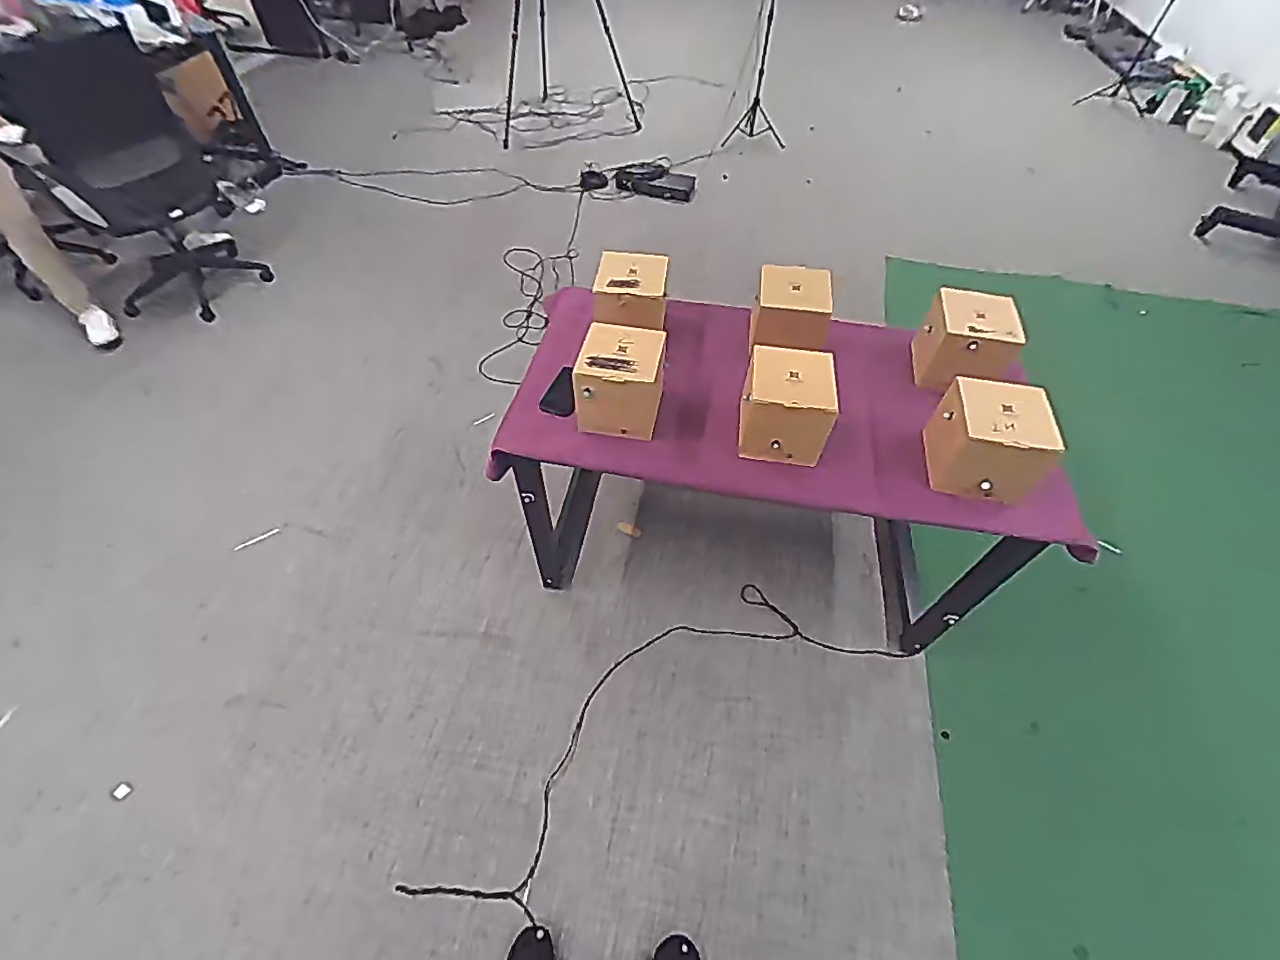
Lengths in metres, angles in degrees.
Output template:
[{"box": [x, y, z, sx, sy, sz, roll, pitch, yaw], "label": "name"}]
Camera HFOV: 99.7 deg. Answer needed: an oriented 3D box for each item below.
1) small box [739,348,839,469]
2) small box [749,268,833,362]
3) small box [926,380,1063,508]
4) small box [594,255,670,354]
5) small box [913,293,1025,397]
[{"box": [0.308, -0.150, 1.145, 0.168, 0.176, 0.179, 8, 52, 4], "label": "small box"}, {"box": [0.368, -0.396, 1.338, 0.168, 0.176, 0.179, 8, 53, 6], "label": "small box"}, {"box": [0.697, -0.072, 1.090, 0.168, 0.176, 0.179, 10, 52, 8], "label": "small box"}, {"box": [-0.018, -0.436, 1.356, 0.168, 0.176, 0.179, 6, 52, 3], "label": "small box"}, {"box": [0.767, -0.313, 1.285, 0.168, 0.176, 0.179, 11, 52, 8], "label": "small box"}]
